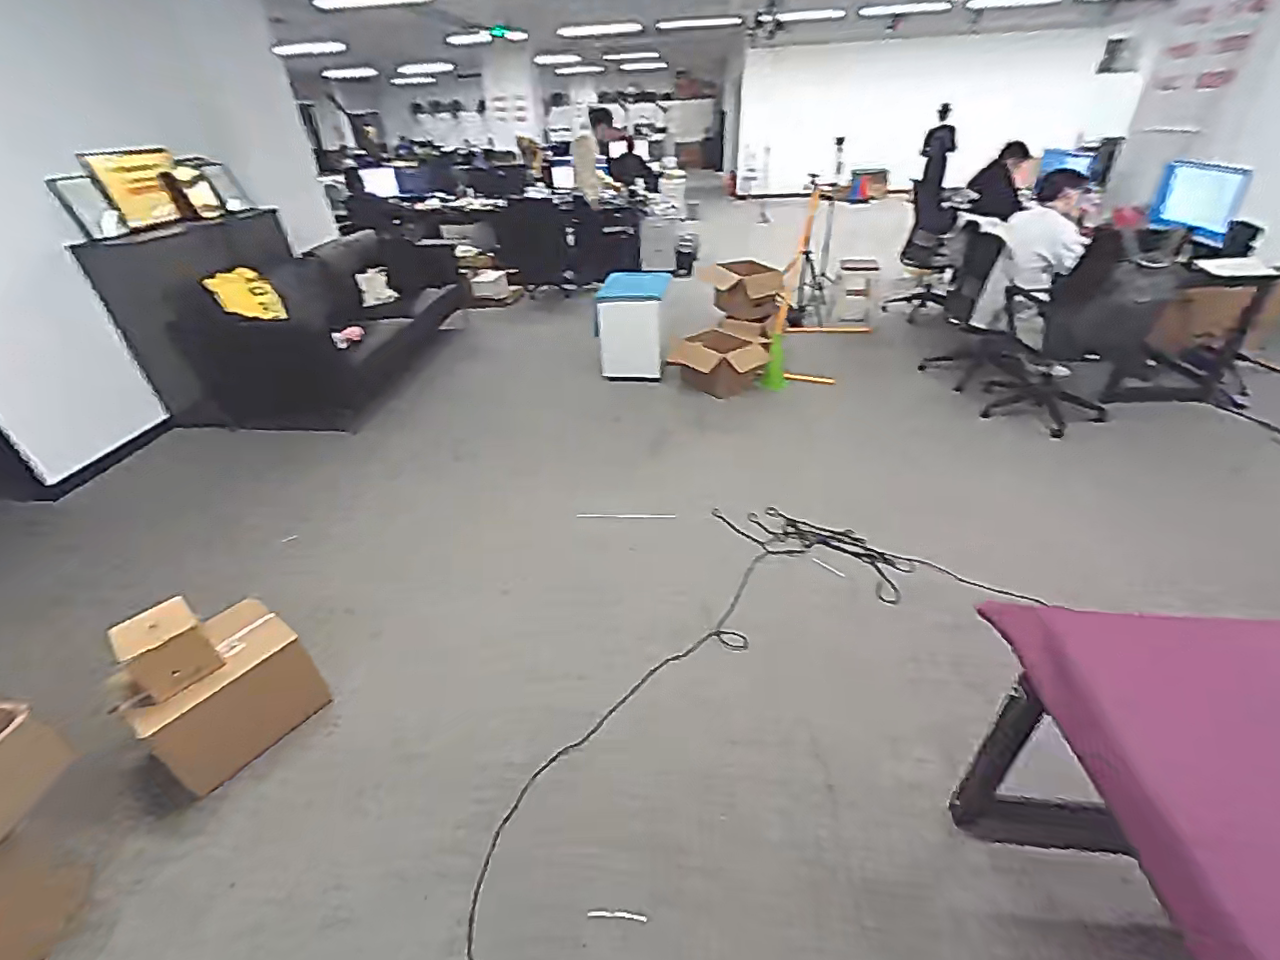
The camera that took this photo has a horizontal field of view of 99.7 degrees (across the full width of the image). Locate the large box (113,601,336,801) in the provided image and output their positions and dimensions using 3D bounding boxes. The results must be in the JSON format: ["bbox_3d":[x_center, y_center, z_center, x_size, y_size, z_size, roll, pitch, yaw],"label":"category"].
[{"bbox_3d":[-1.243,0.656,1.654,0.320,0.320,0.408,20,39,31],"label":"large box"}]

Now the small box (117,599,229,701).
[{"bbox_3d":[-1.287,0.470,1.496,0.179,0.176,0.168,22,41,34],"label":"small box"}]
